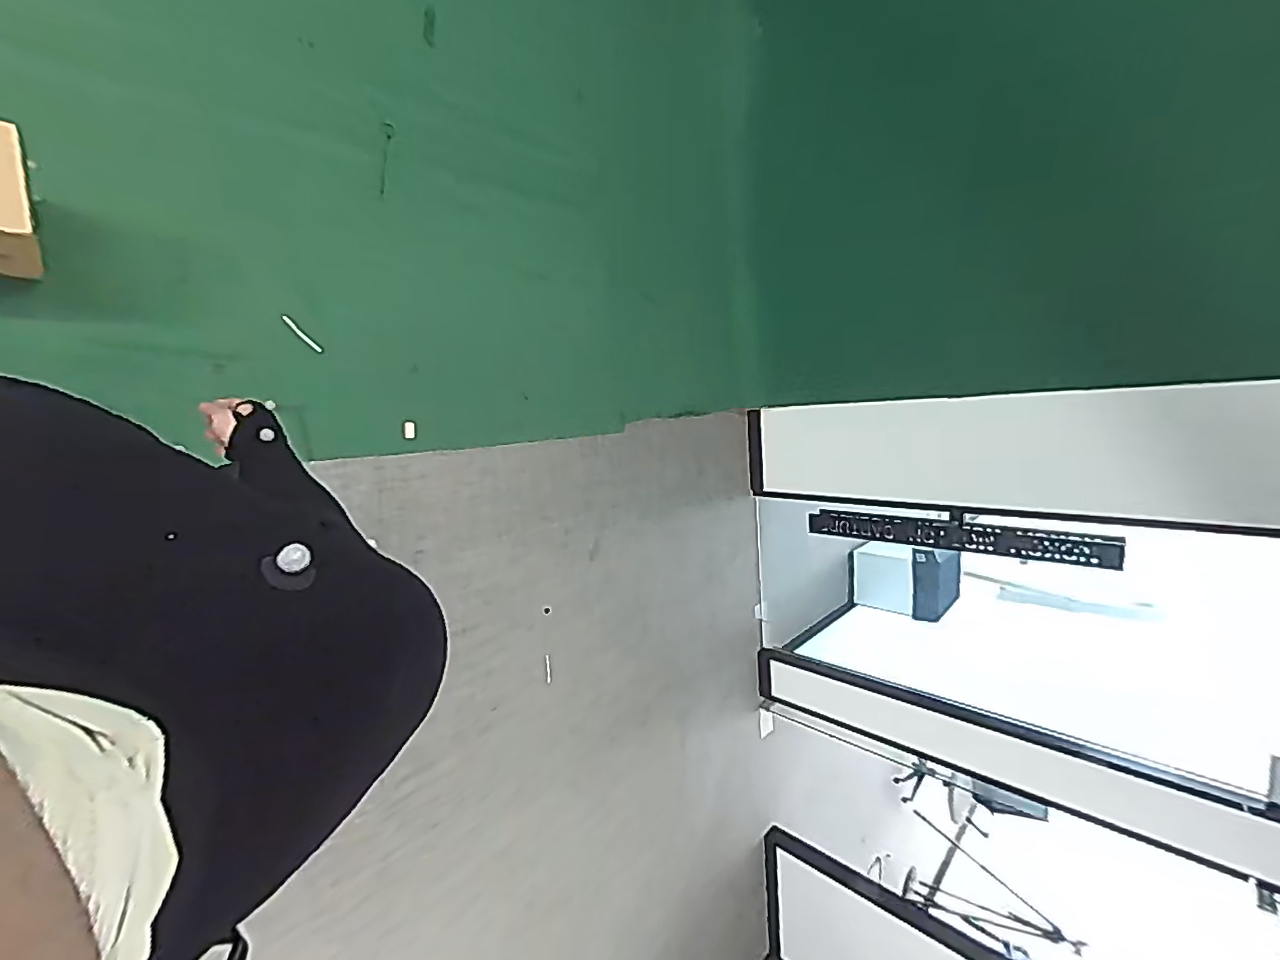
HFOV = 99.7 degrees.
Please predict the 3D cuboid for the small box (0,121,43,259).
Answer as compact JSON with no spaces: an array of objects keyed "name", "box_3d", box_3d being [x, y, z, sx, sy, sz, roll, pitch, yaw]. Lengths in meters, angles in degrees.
[{"name":"small box","box_3d":[-1.111,-0.482,0.882,0.168,0.176,0.179,-9,99,-44]}]
